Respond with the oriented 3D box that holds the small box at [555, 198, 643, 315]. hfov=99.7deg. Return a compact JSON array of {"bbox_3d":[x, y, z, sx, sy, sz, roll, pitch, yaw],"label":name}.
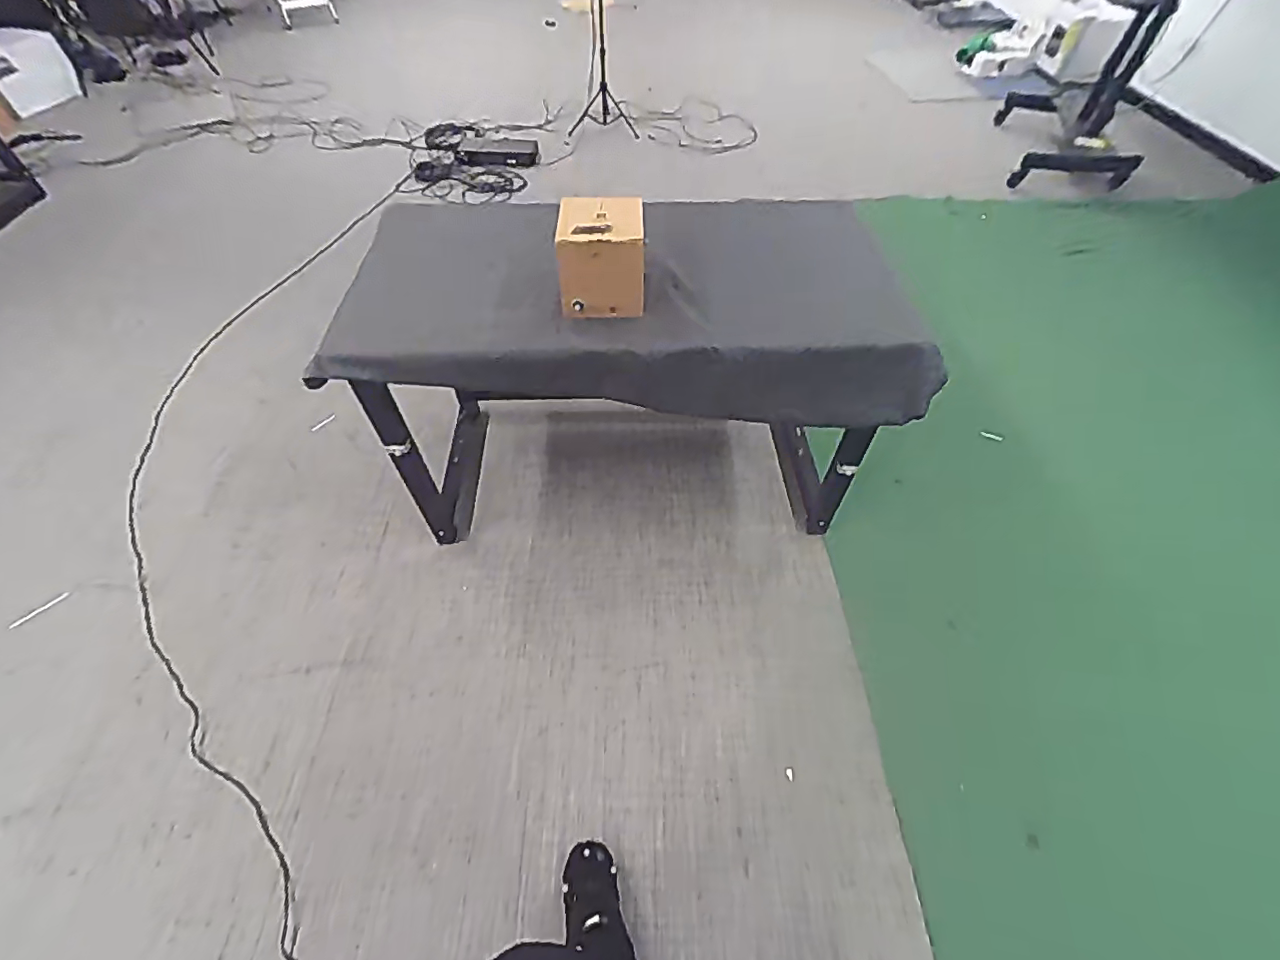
[{"bbox_3d":[-0.076,-0.456,1.112,0.168,0.176,0.179,0,51,-1],"label":"small box"}]
